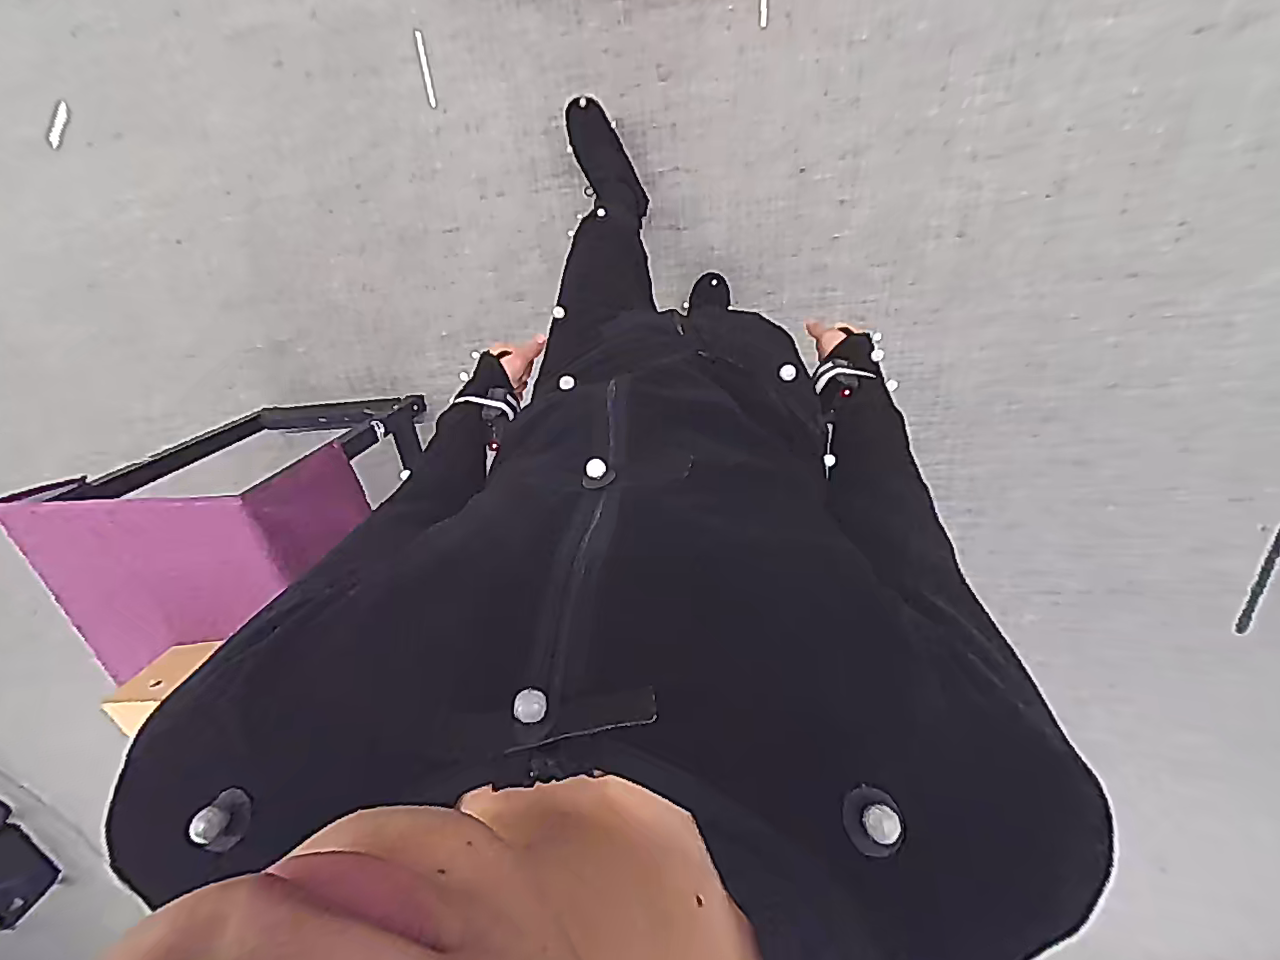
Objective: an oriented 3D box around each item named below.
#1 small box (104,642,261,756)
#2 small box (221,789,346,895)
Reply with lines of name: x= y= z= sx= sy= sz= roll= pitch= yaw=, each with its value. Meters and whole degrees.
small box: x=-0.980 y=0.474 z=1.184 sx=0.179 sy=0.176 sz=0.168 roll=-9 pitch=114 yaw=14
small box: x=-0.908 y=0.926 z=1.394 sx=0.179 sy=0.176 sz=0.168 roll=-6 pitch=115 yaw=11
